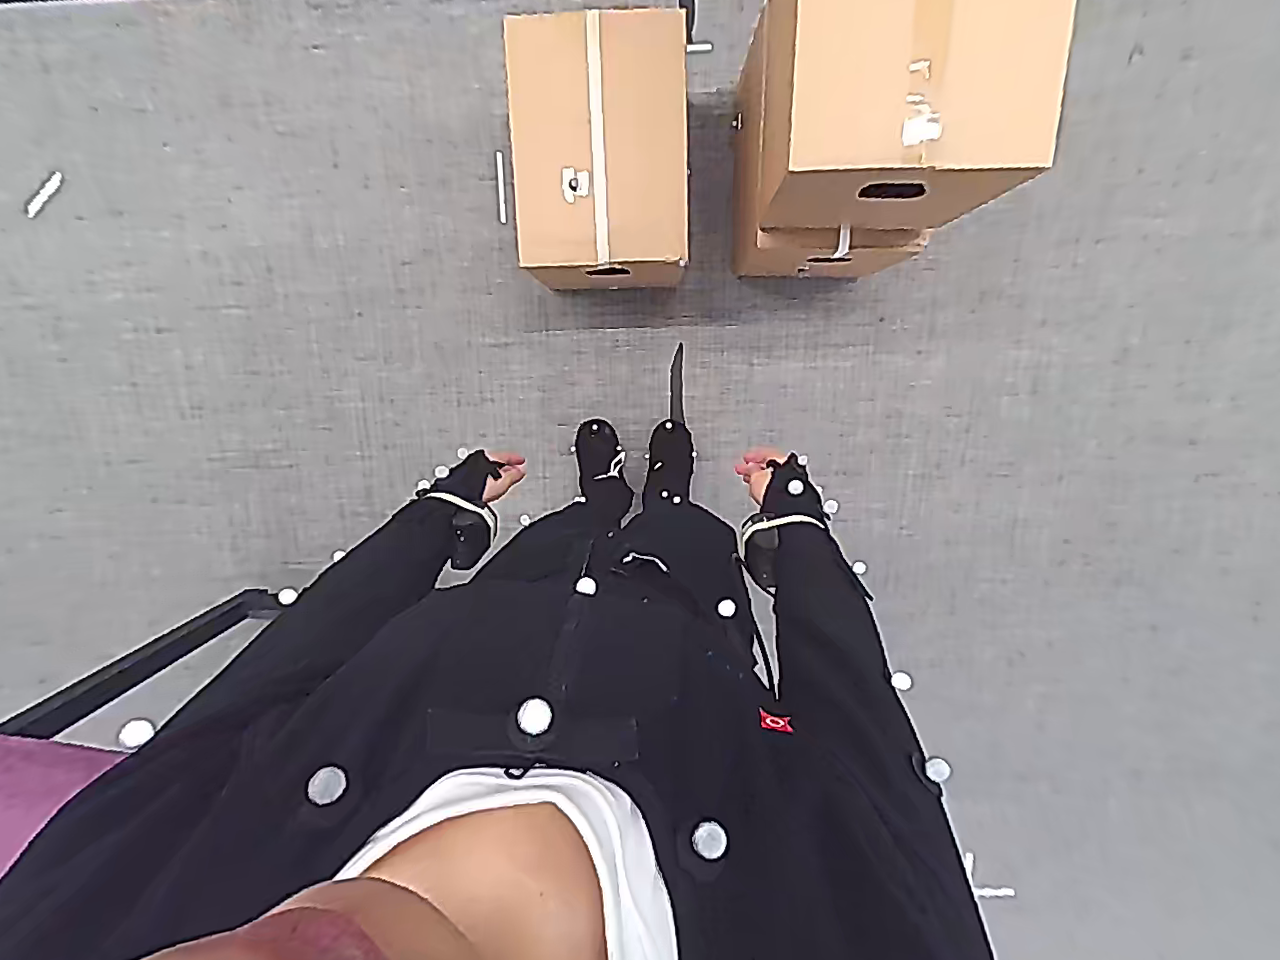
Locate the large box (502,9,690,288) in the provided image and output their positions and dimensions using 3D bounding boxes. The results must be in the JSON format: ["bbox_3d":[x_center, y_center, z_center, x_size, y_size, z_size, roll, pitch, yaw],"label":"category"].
[{"bbox_3d":[-0.070,-0.625,1.097,0.320,0.320,0.408,-2,102,2],"label":"large box"}]
